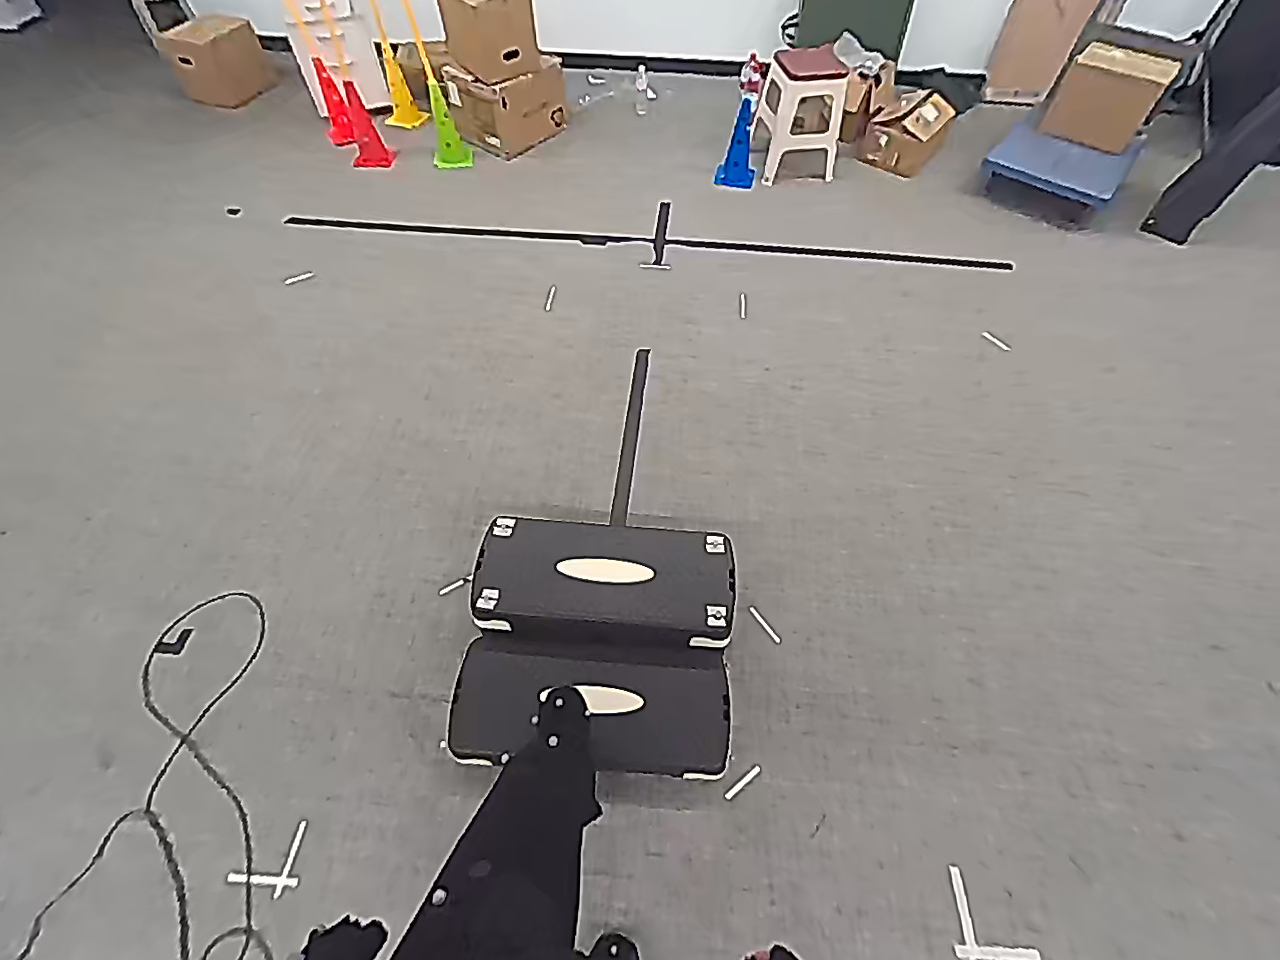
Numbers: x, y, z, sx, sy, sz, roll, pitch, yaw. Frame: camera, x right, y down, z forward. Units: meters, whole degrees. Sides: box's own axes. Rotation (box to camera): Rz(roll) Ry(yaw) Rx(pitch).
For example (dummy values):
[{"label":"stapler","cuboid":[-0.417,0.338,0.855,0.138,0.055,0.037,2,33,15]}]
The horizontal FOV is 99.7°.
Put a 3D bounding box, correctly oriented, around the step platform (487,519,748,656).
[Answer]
[{"label":"step platform","cuboid":[-0.057,0.285,1.457,0.684,0.204,0.286,5,56,1]}]
